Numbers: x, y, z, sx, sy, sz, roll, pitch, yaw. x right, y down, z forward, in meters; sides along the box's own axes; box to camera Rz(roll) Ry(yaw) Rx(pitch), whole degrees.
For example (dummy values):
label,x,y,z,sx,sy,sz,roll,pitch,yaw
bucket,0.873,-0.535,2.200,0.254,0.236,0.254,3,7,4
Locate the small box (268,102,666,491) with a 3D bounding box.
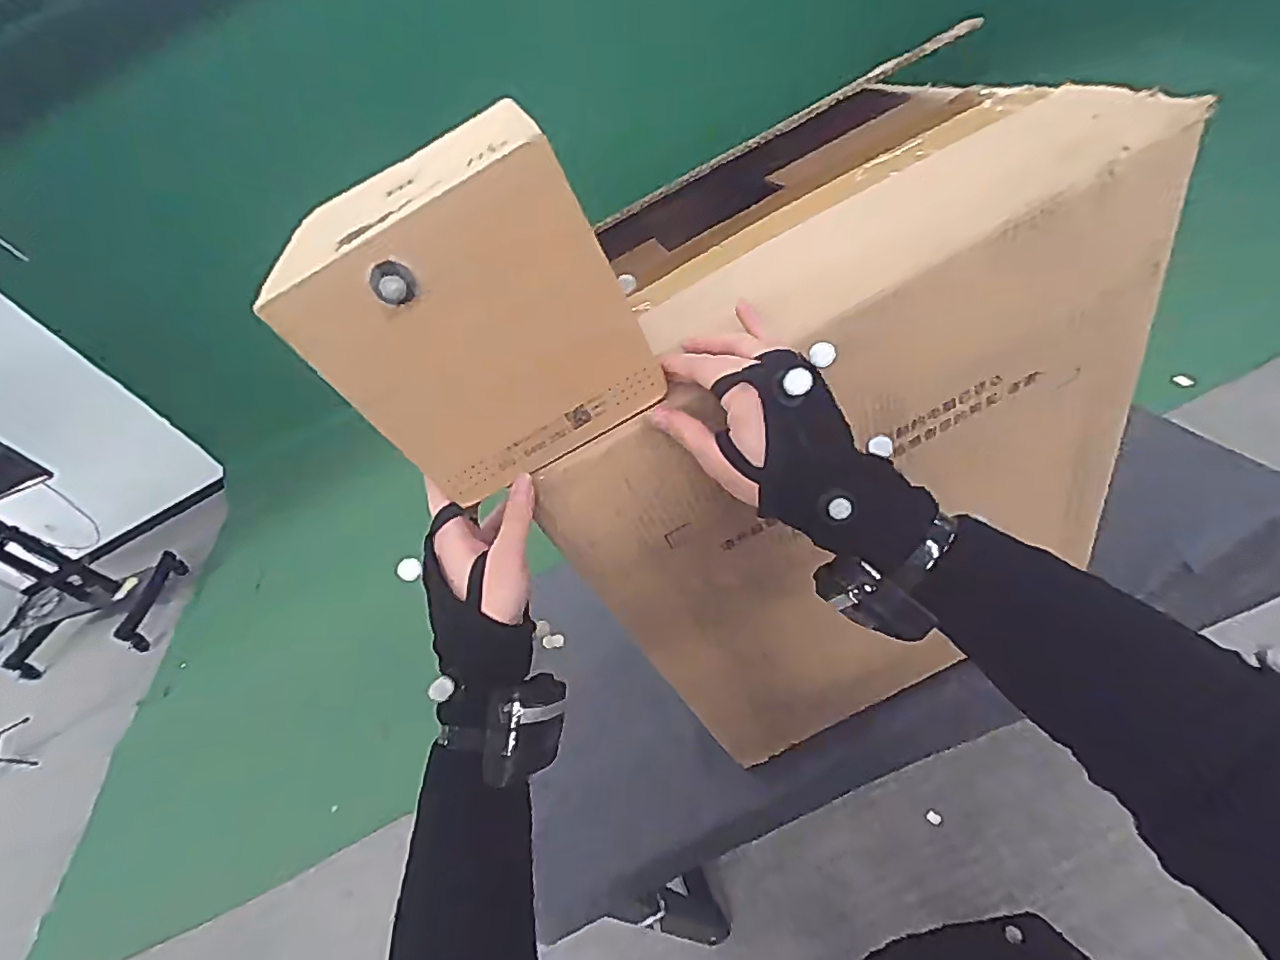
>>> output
label,x,y,z,sx,sy,sz,roll,pitch,yaw
small box,-0.103,-0.125,0.378,0.168,0.176,0.179,-29,41,5
